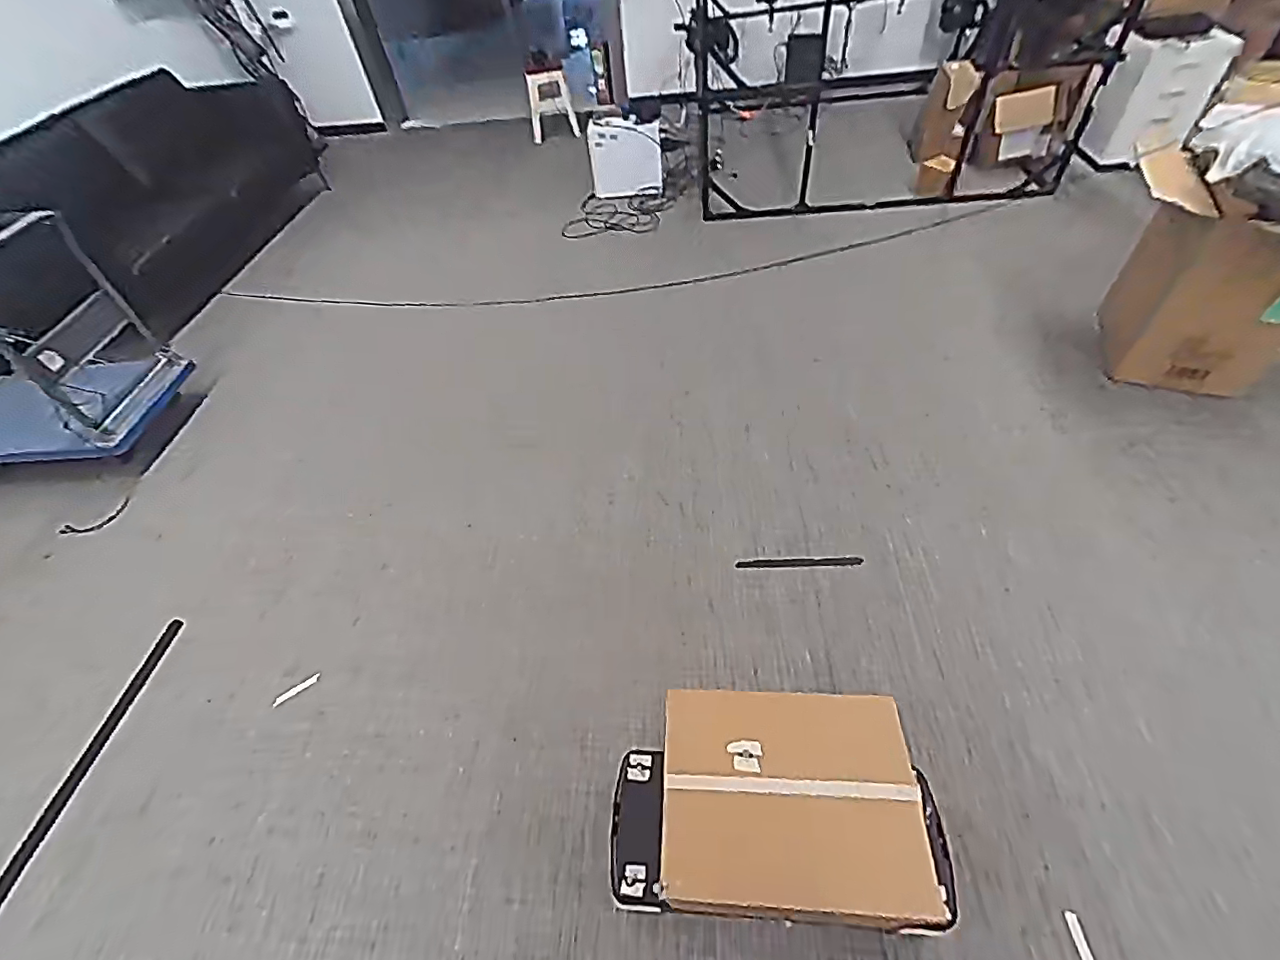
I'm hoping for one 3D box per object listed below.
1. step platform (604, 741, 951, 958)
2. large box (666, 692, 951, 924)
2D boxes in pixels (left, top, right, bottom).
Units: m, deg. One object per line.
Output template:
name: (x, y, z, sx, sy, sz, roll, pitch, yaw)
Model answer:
step platform: (0.268, 0.763, 1.147, 0.684, 0.204, 0.286, 3, 50, 11)
large box: (0.262, 0.594, 0.977, 0.408, 0.320, 0.320, -1, 48, 8)
